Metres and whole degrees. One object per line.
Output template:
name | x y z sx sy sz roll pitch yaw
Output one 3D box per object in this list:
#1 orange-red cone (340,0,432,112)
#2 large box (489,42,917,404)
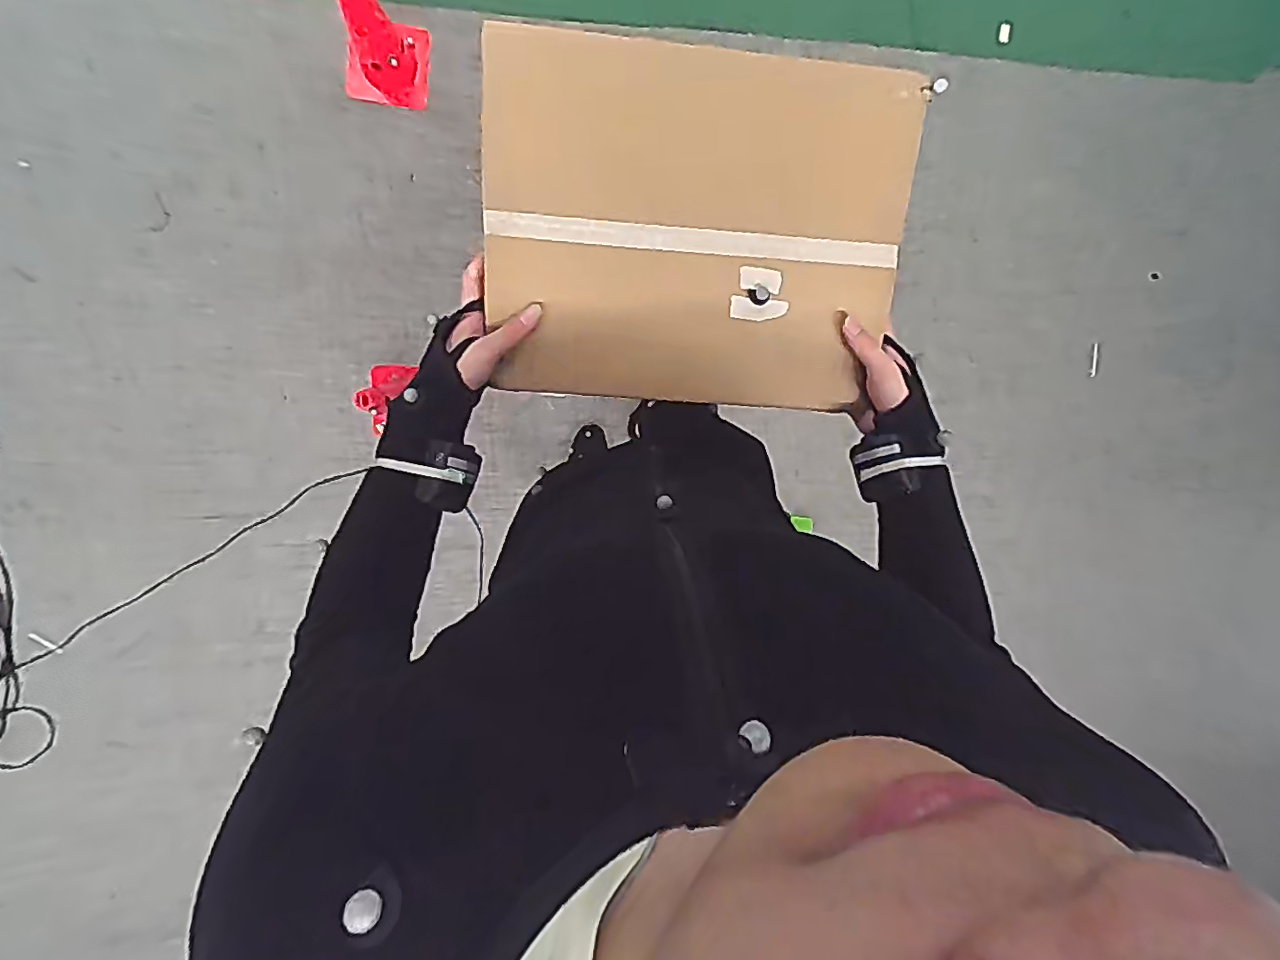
orange-red cone | -0.630 -1.053 1.233 0.199 0.360 0.198 7 95 -7
large box | 0.045 -0.277 0.675 0.408 0.320 0.320 2 108 -5
